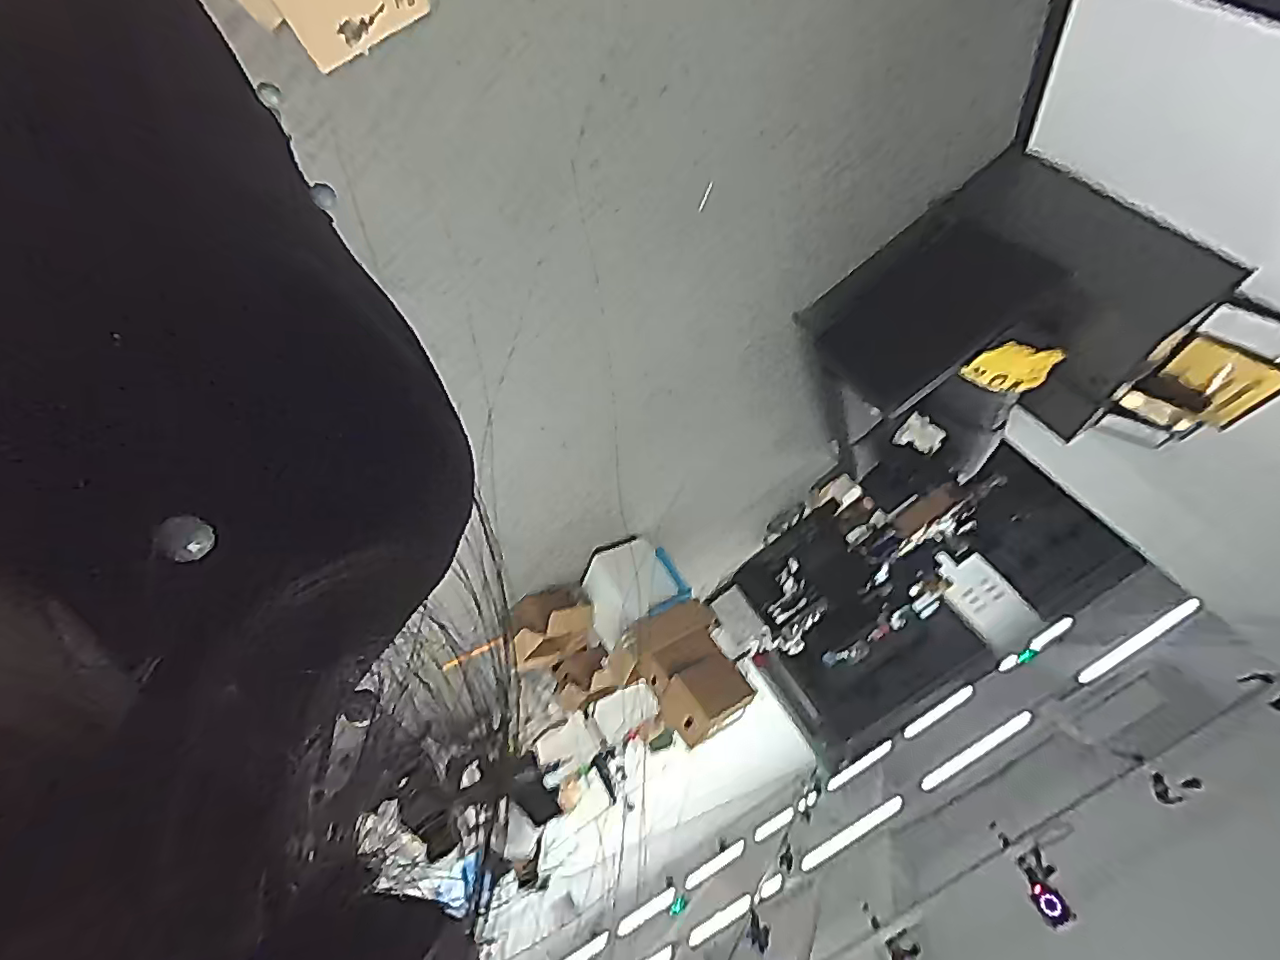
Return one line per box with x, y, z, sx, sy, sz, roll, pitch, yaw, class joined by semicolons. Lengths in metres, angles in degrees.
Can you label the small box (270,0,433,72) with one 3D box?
-0.387;-0.643;0.639;0.168;0.176;0.179;-34;154;-4;small box
